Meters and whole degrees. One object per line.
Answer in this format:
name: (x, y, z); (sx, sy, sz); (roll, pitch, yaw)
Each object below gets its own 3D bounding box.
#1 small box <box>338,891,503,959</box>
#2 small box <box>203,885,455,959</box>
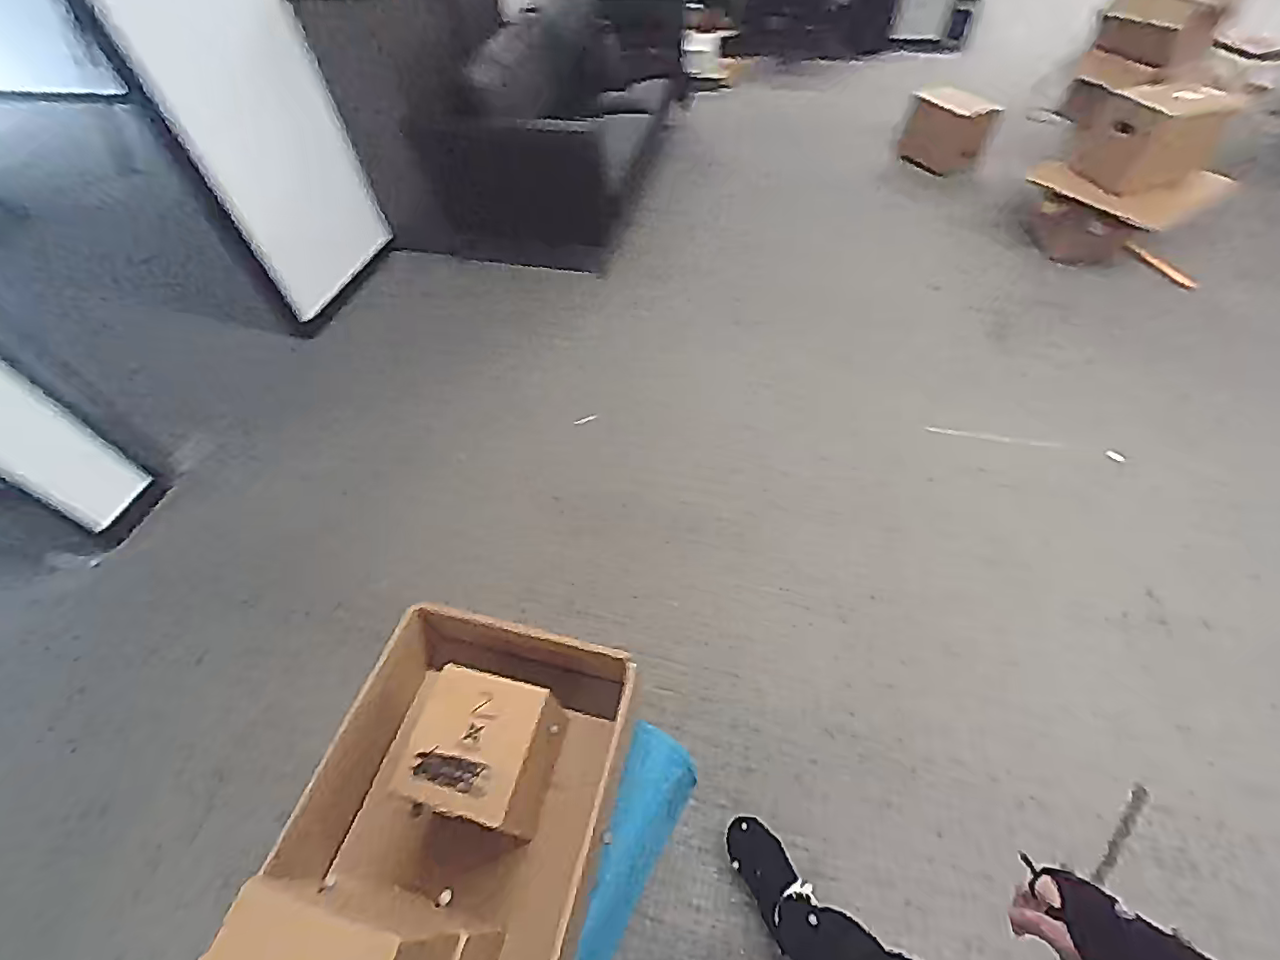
small box: (-0.291, 0.618, 0.640); (0.179, 0.176, 0.168); (9, 53, 14)
small box: (-0.311, 0.516, 0.514); (0.179, 0.176, 0.168); (9, 53, 13)
